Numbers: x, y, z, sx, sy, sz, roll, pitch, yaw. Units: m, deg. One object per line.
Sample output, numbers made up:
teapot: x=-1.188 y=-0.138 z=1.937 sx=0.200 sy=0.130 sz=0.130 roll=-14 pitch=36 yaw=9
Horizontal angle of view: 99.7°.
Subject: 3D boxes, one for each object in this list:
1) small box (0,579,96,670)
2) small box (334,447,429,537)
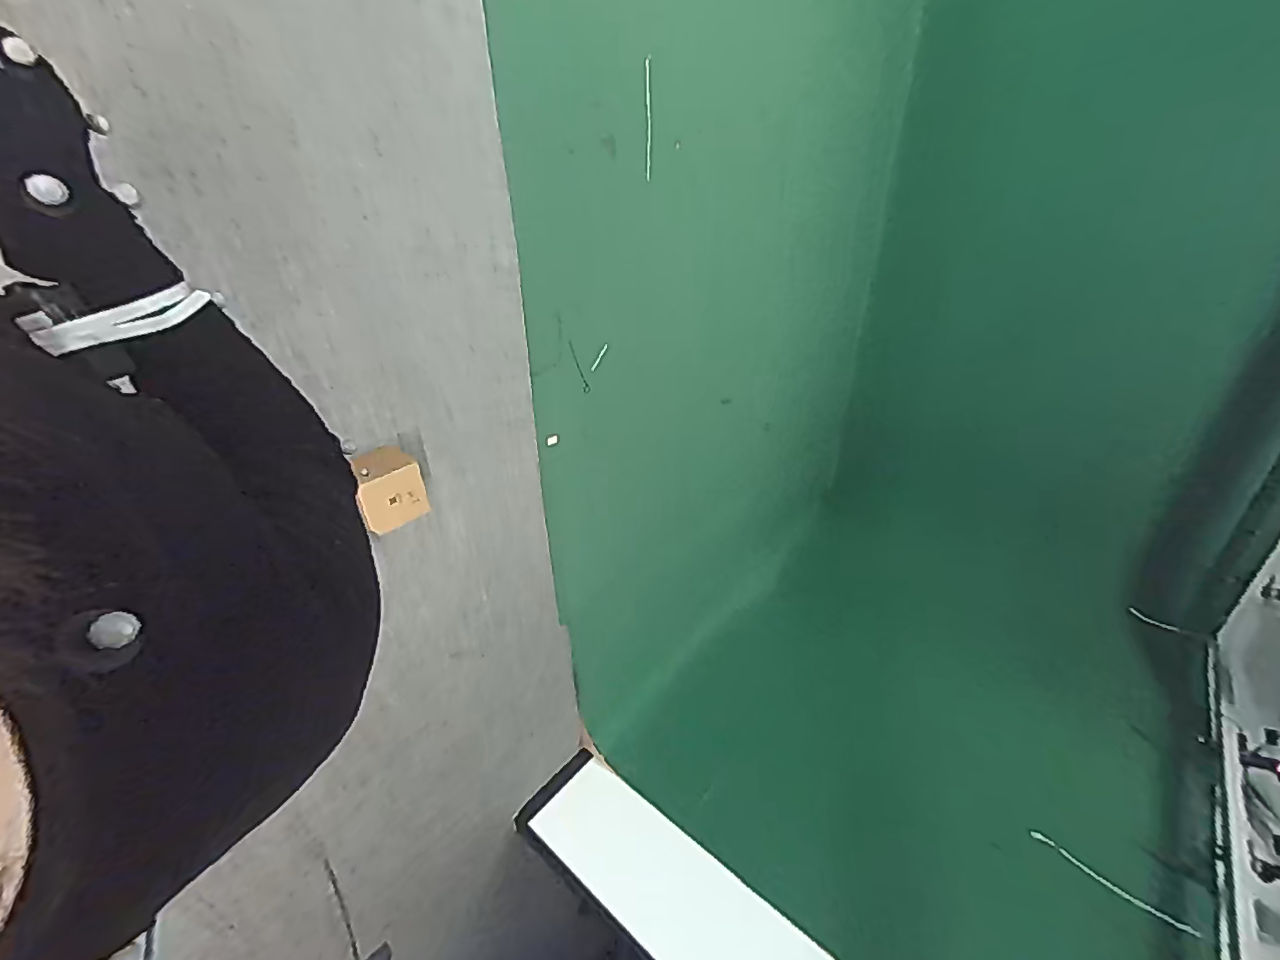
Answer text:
small box: x=-1.223 y=0.322 z=1.048 sx=0.179 sy=0.176 sz=0.168 roll=-32 pitch=130 yaw=-38
small box: x=-0.729 y=0.027 z=1.517 sx=0.179 sy=0.176 sz=0.168 roll=-31 pitch=131 yaw=-39
